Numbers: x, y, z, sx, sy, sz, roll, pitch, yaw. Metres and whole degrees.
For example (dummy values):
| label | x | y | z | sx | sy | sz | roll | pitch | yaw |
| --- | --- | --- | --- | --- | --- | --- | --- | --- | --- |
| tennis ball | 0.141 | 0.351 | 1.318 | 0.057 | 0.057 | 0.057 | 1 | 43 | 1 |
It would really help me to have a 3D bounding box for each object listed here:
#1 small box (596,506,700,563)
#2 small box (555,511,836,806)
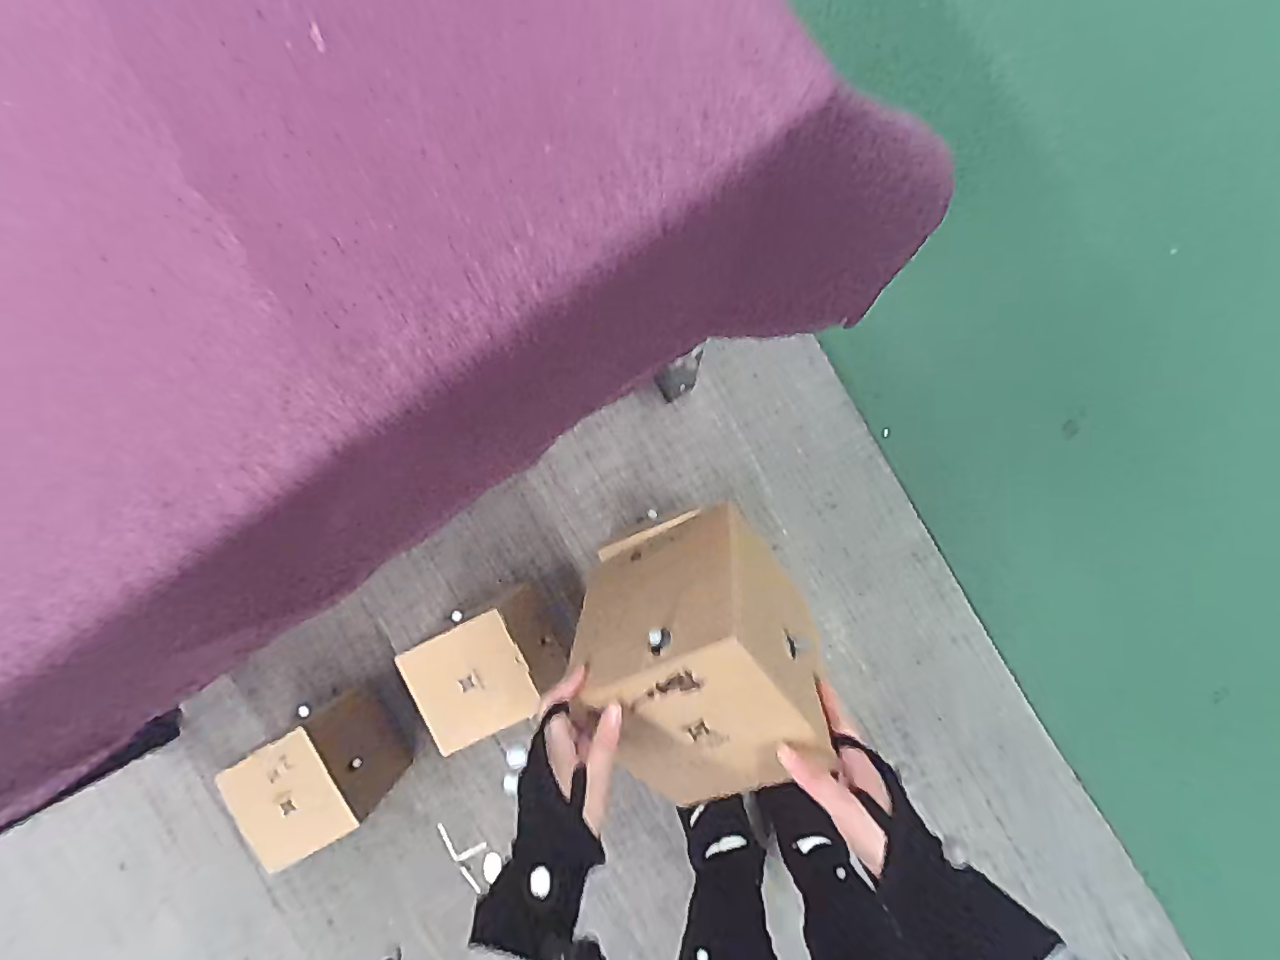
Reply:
| label | x | y | z | sx | sy | sz | roll | pitch | yaw |
| --- | --- | --- | --- | --- | --- | --- | --- | --- | --- |
| small box | 0.047 | 0.152 | 0.857 | 0.168 | 0.176 | 0.179 | -22 | 89 | 3 |
| small box | 0.055 | 0.162 | 0.497 | 0.168 | 0.176 | 0.179 | -29 | 116 | 24 |
